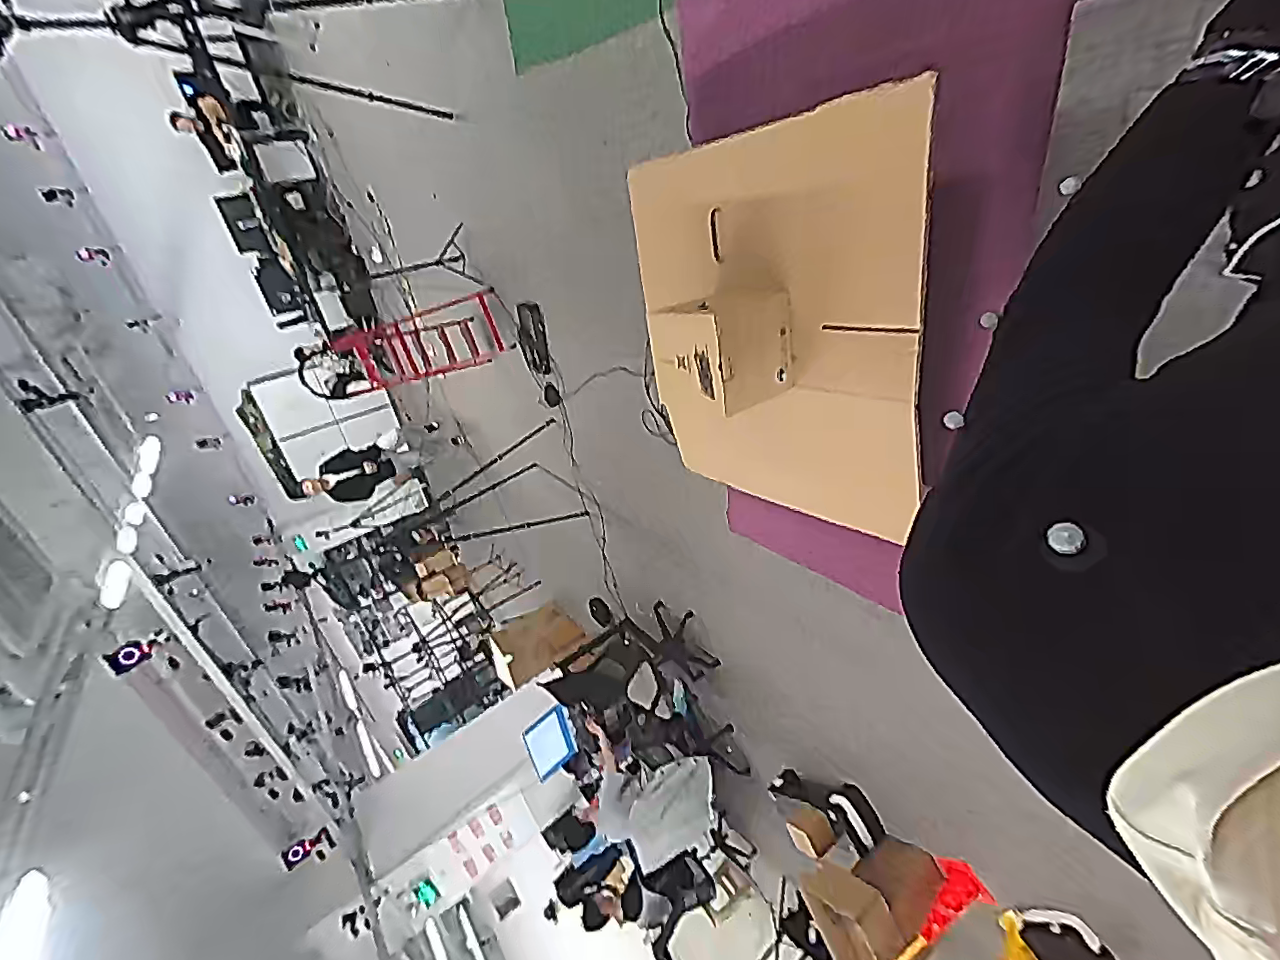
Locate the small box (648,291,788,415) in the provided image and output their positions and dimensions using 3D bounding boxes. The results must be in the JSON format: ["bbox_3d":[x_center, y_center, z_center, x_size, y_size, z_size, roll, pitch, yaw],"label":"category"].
[{"bbox_3d":[0.141,-0.226,0.932,0.179,0.176,0.168,23,131,50],"label":"small box"}]
